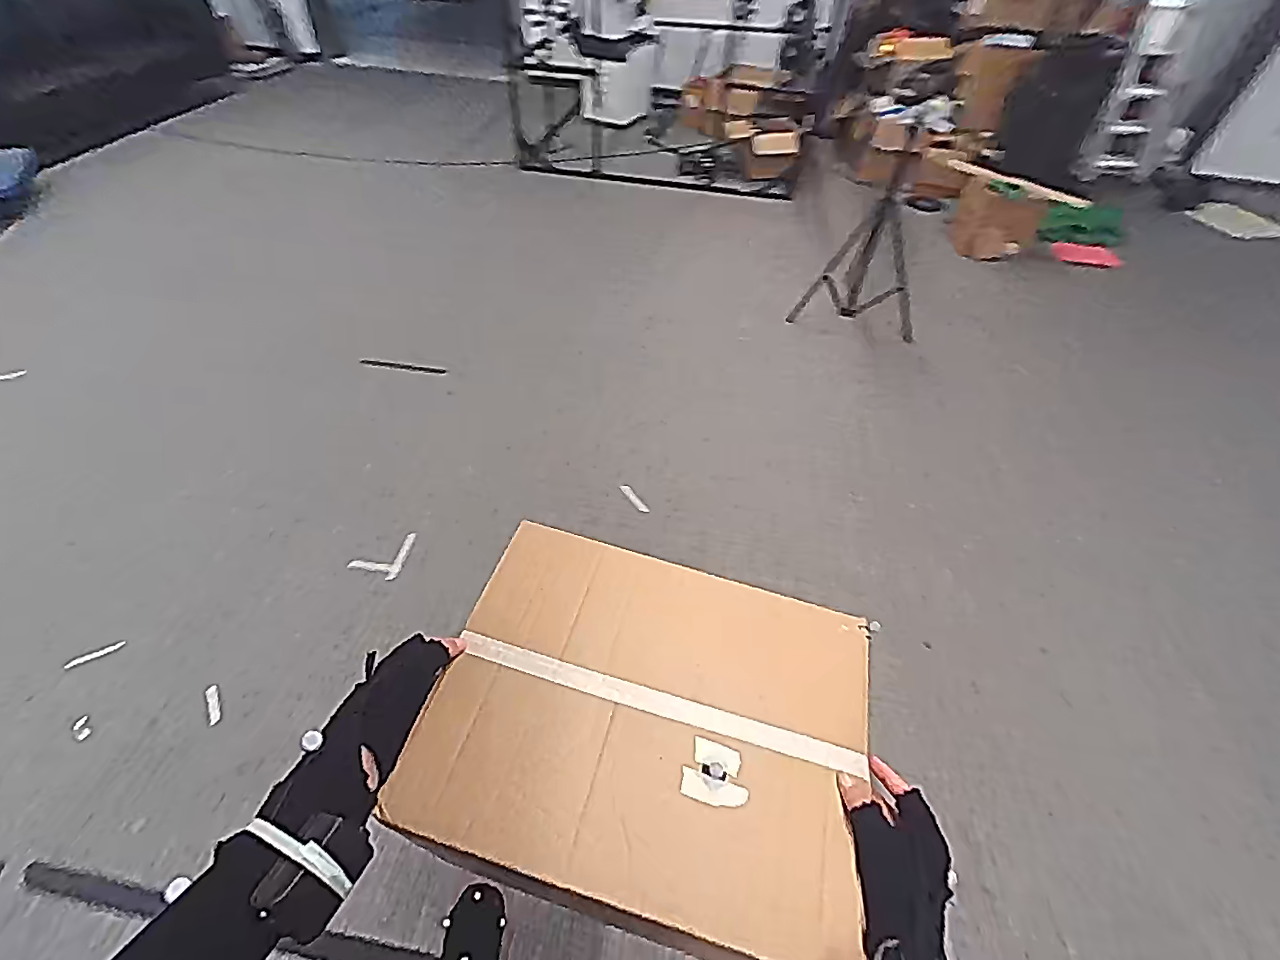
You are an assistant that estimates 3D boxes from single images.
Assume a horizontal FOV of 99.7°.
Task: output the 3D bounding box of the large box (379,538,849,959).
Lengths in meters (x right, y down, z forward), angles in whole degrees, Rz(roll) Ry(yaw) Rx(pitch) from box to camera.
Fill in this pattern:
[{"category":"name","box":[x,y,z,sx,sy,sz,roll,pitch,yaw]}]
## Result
[{"category":"large box","box":[-0.011,0.320,0.643,0.408,0.320,0.320,15,50,5]}]
